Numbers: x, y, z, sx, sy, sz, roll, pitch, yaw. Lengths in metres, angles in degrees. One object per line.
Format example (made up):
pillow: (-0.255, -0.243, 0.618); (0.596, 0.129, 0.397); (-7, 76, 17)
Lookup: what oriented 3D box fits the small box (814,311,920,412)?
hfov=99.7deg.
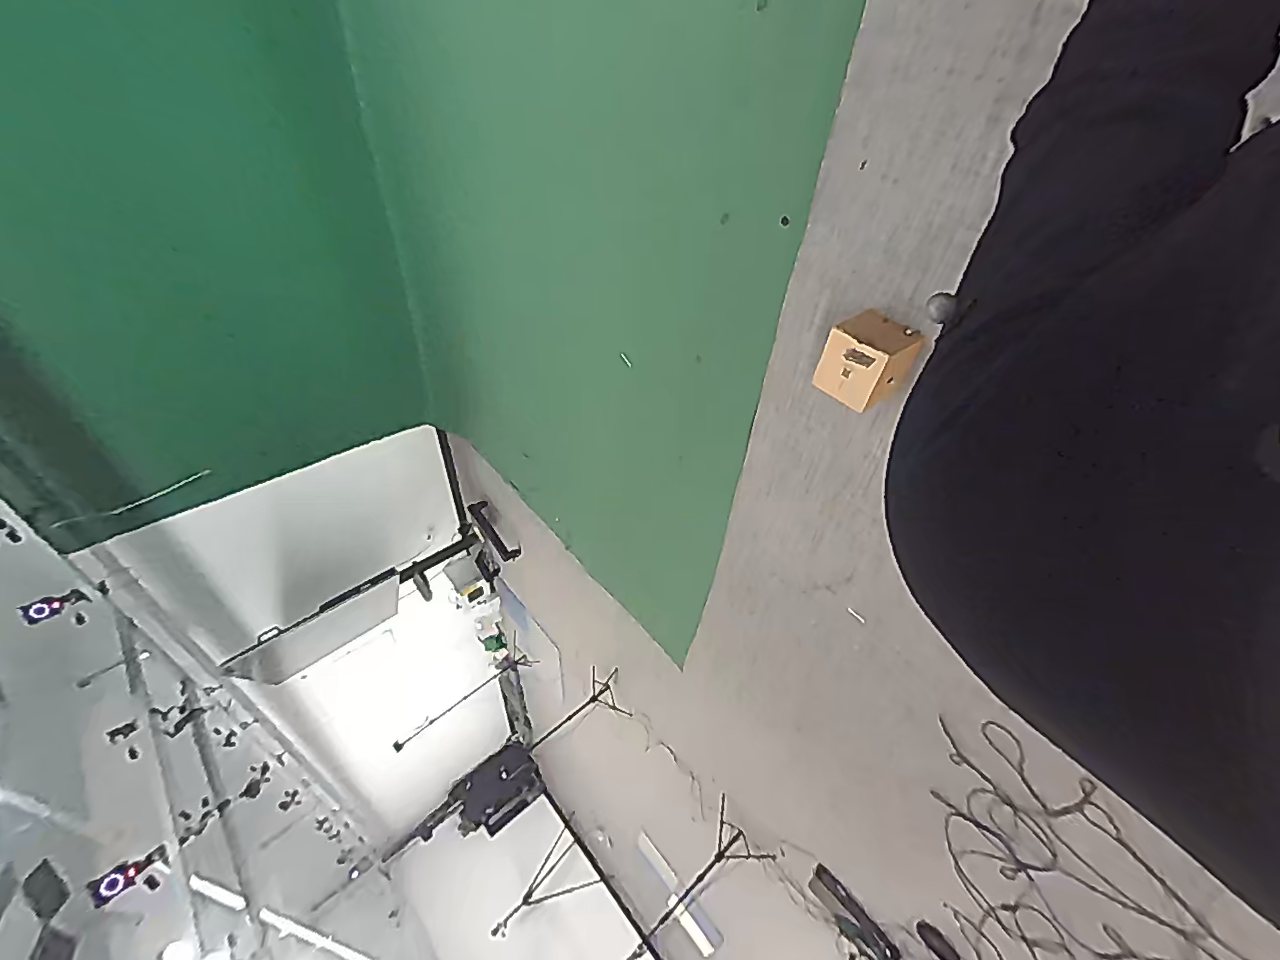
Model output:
small box: (0.589, -0.313, 1.401); (0.168, 0.176, 0.179); (42, 145, 29)
